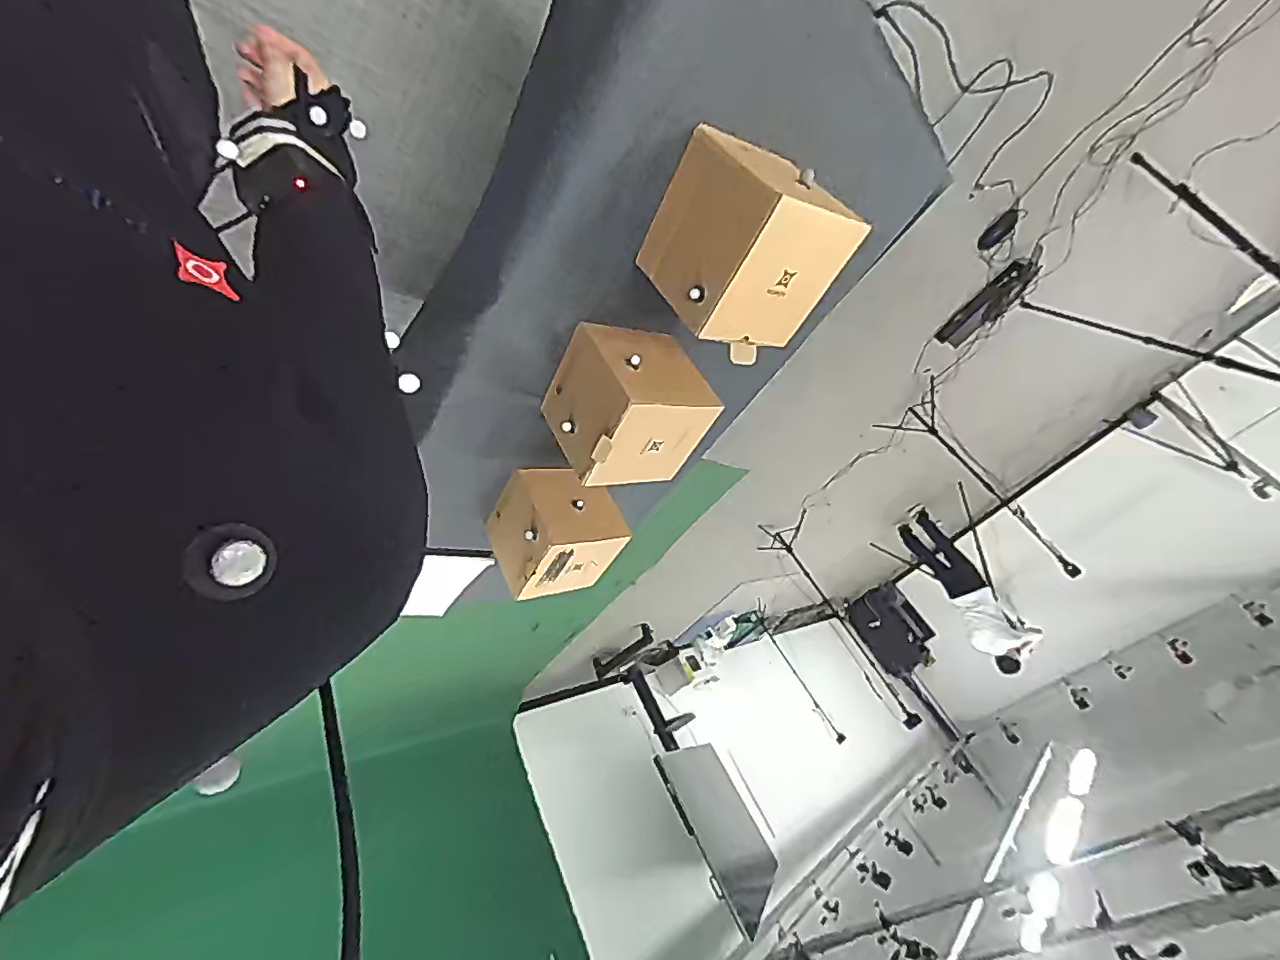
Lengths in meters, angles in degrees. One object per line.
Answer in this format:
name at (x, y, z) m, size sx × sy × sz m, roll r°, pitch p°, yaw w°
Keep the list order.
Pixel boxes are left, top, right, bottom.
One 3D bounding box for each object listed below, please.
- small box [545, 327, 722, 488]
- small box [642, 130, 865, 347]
small box at (-0.019, -0.109, 0.809) m, size 0.179 × 0.176 × 0.168 m, roll -6°, pitch 144°, yaw -40°
small box at (0.127, -0.289, 0.666) m, size 0.168 × 0.176 × 0.179 m, roll -7°, pitch 144°, yaw -38°
